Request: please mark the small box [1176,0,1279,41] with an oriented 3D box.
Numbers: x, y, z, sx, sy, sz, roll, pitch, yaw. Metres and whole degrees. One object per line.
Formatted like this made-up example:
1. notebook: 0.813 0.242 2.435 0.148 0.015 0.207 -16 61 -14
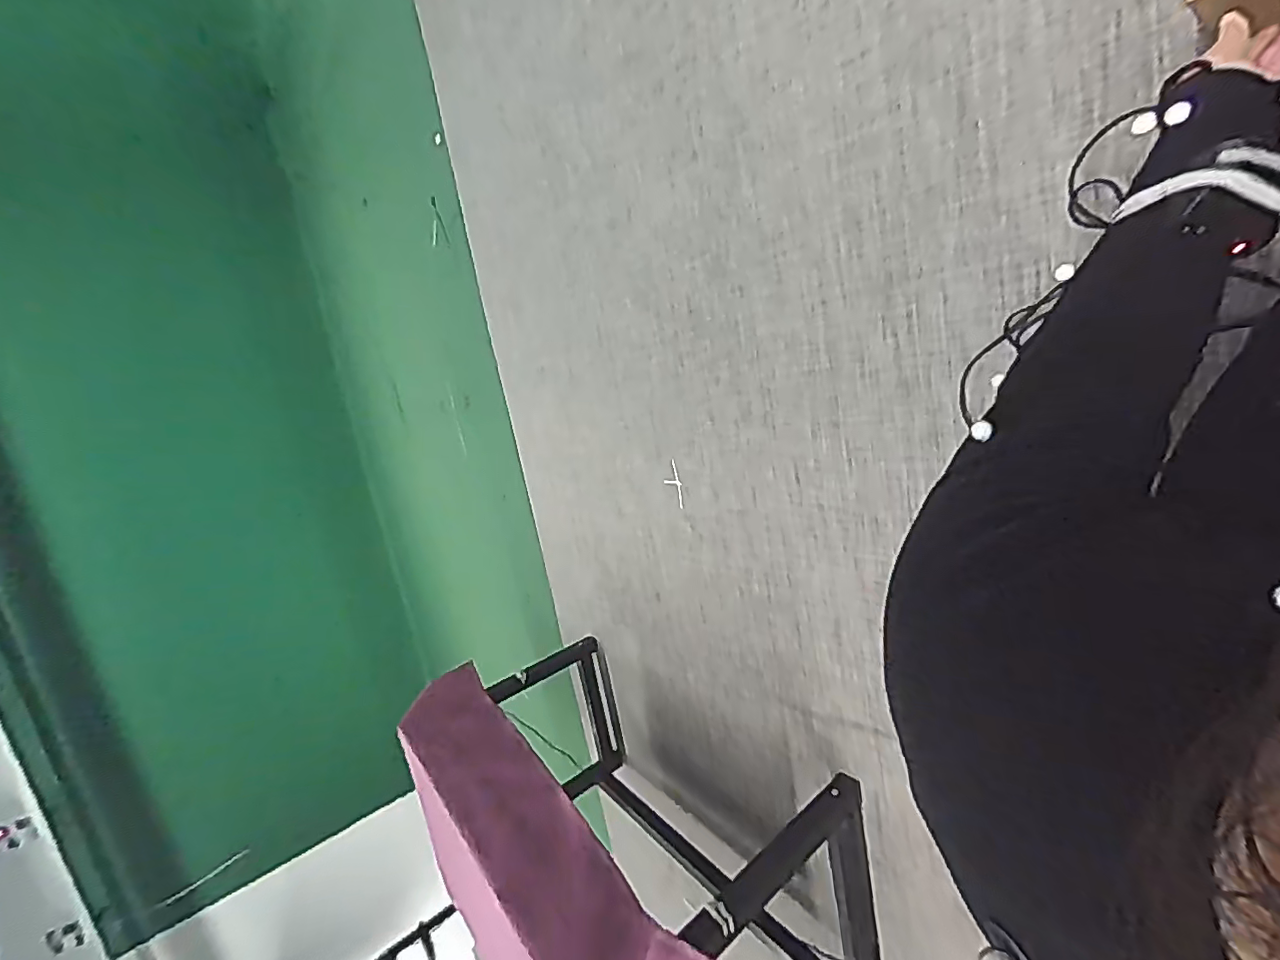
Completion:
1. small box: 0.576 -0.511 0.442 0.168 0.176 0.179 9 113 53
